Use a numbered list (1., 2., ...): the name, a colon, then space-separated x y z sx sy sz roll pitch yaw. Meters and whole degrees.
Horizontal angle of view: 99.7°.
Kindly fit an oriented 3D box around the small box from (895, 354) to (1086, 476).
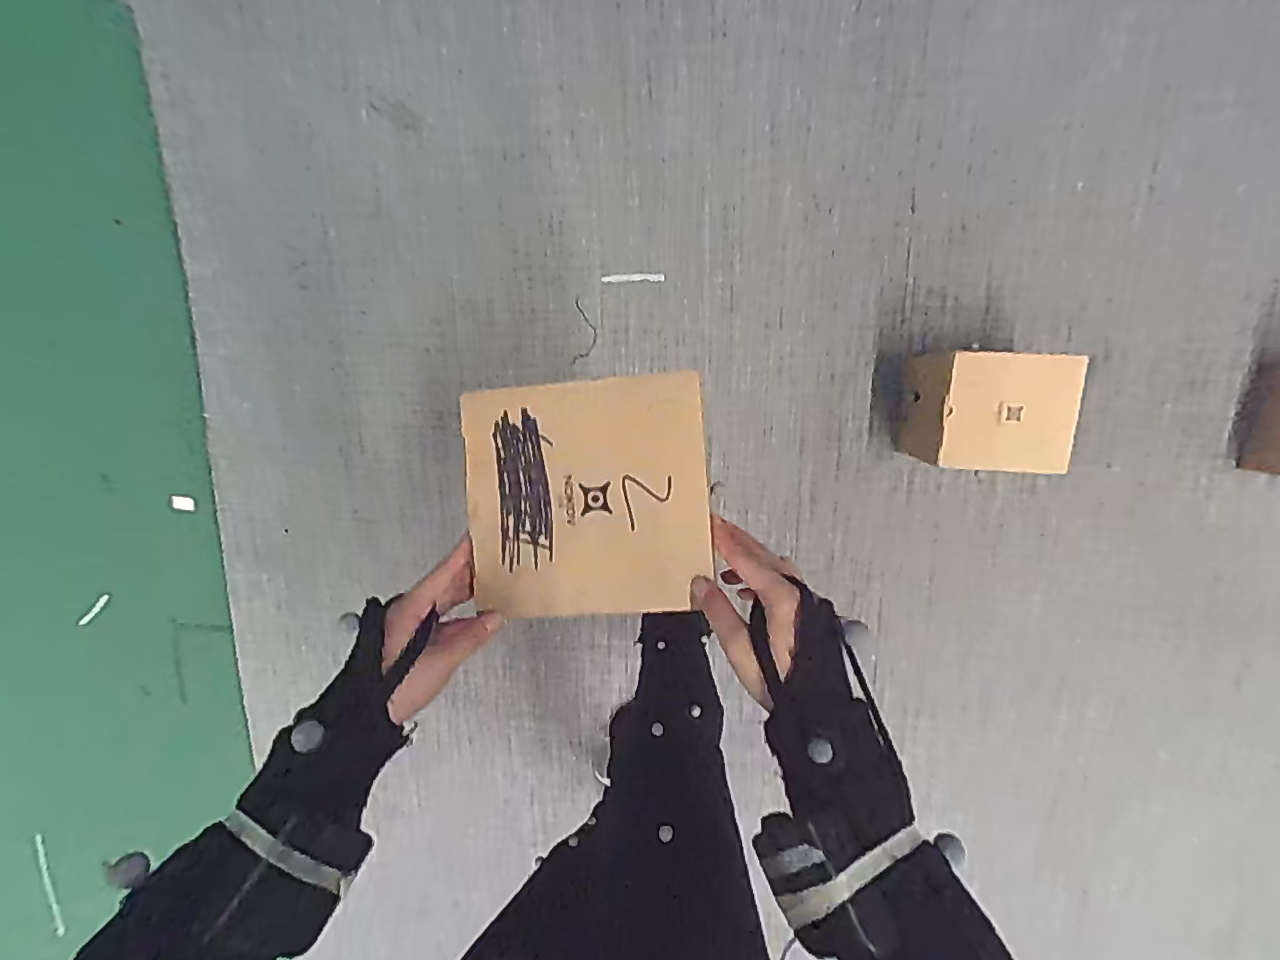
1. small box: 0.517 -0.106 0.825 0.179 0.176 0.168 3 102 7

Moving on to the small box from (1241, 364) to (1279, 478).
1. small box: 1.037 -0.073 0.769 0.168 0.176 0.179 7 101 4
